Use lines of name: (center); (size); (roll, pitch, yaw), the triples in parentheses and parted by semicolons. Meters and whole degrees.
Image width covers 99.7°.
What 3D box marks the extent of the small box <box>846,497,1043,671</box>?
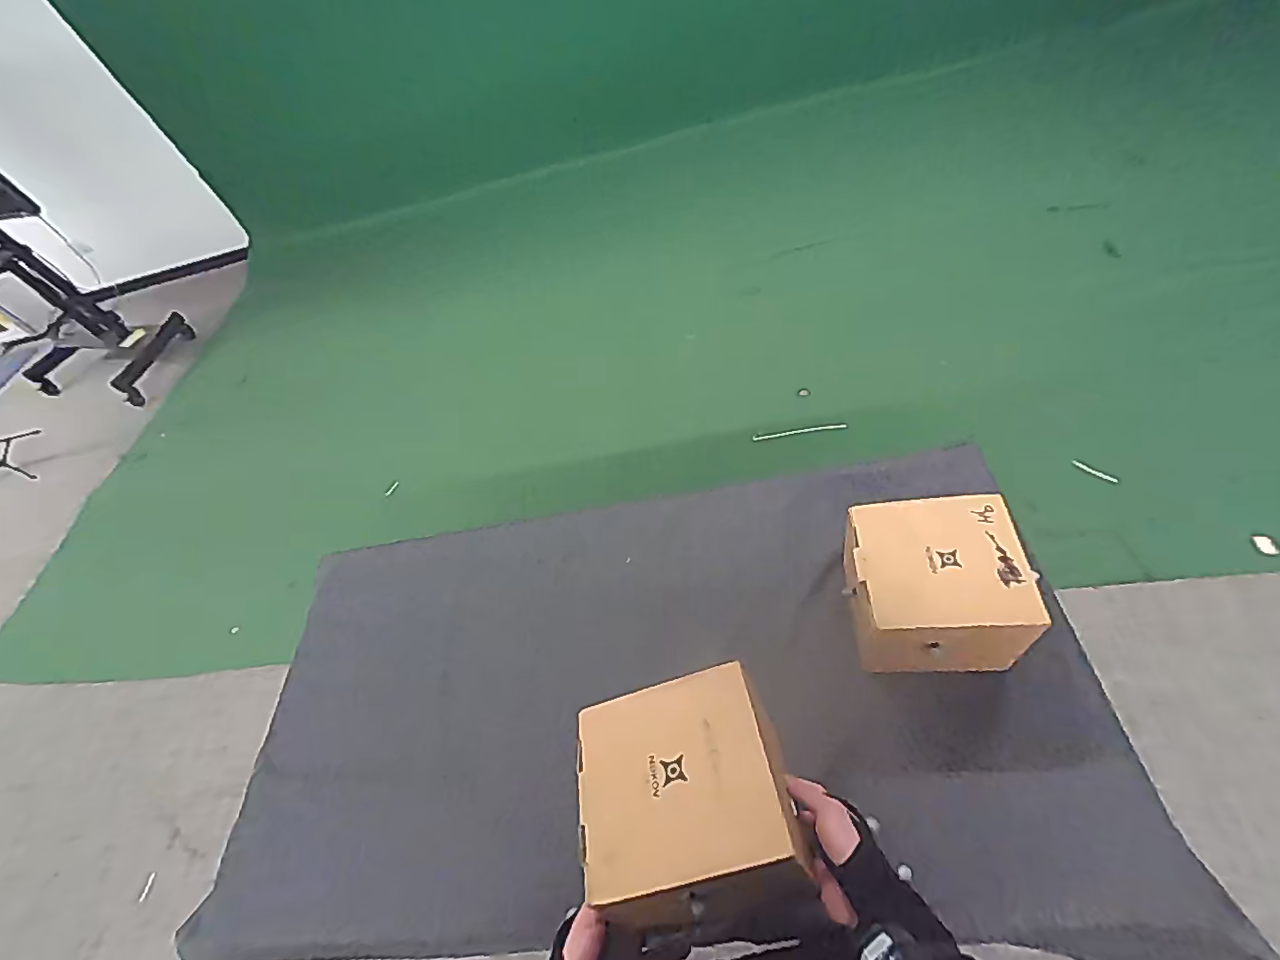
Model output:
small box: (0.365, 0.140, 0.691); (0.179, 0.176, 0.168); (-6, 55, 14)

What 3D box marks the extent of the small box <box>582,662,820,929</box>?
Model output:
small box: (0.058, 0.313, 0.532); (0.179, 0.176, 0.168); (-20, 42, 7)
